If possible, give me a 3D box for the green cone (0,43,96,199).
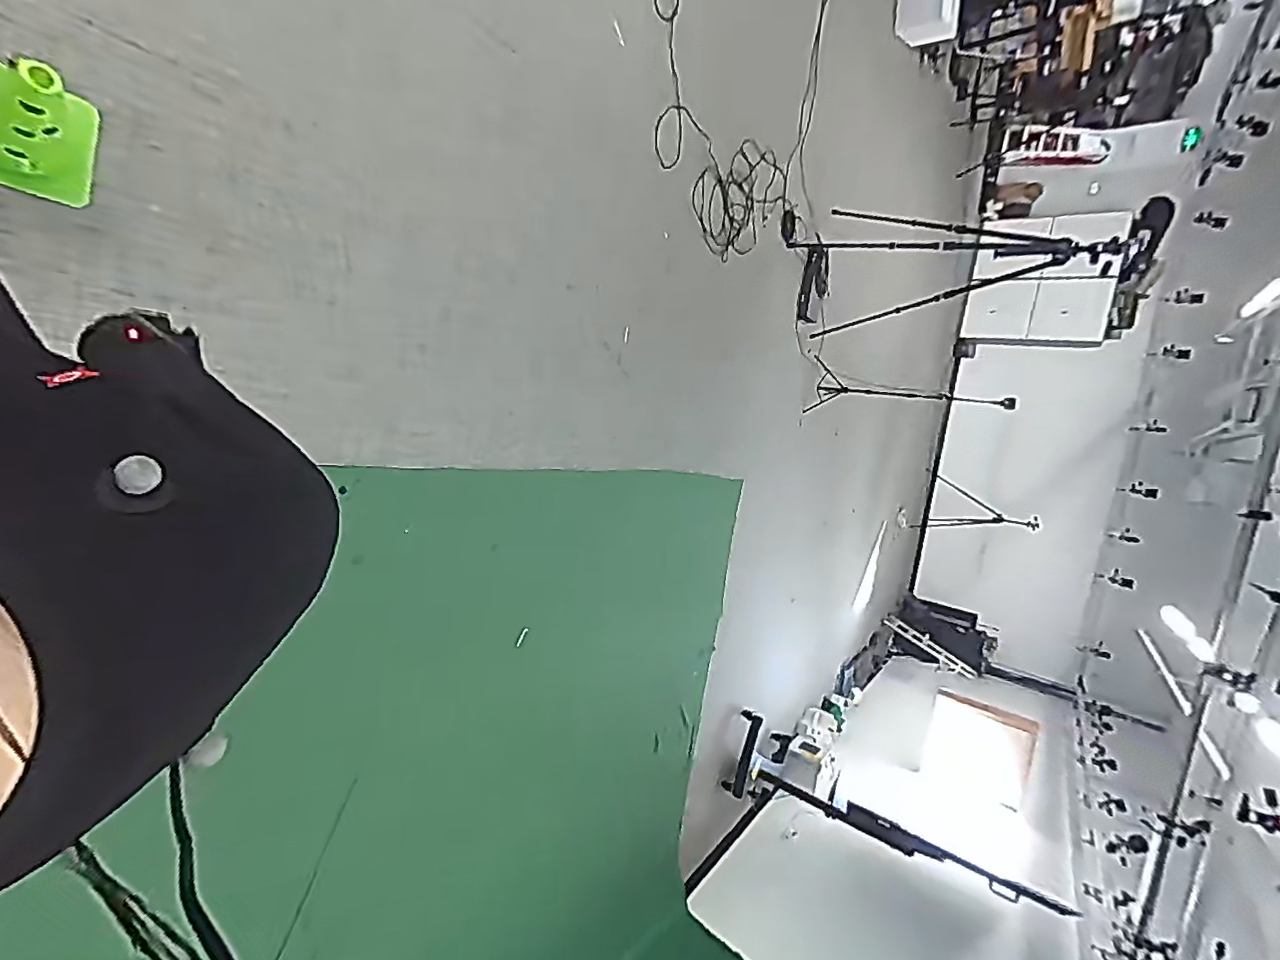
[{"bbox_3d":[-0.967,-0.602,0.850,0.200,0.368,0.202,5,96,-54],"label":"green cone"}]
